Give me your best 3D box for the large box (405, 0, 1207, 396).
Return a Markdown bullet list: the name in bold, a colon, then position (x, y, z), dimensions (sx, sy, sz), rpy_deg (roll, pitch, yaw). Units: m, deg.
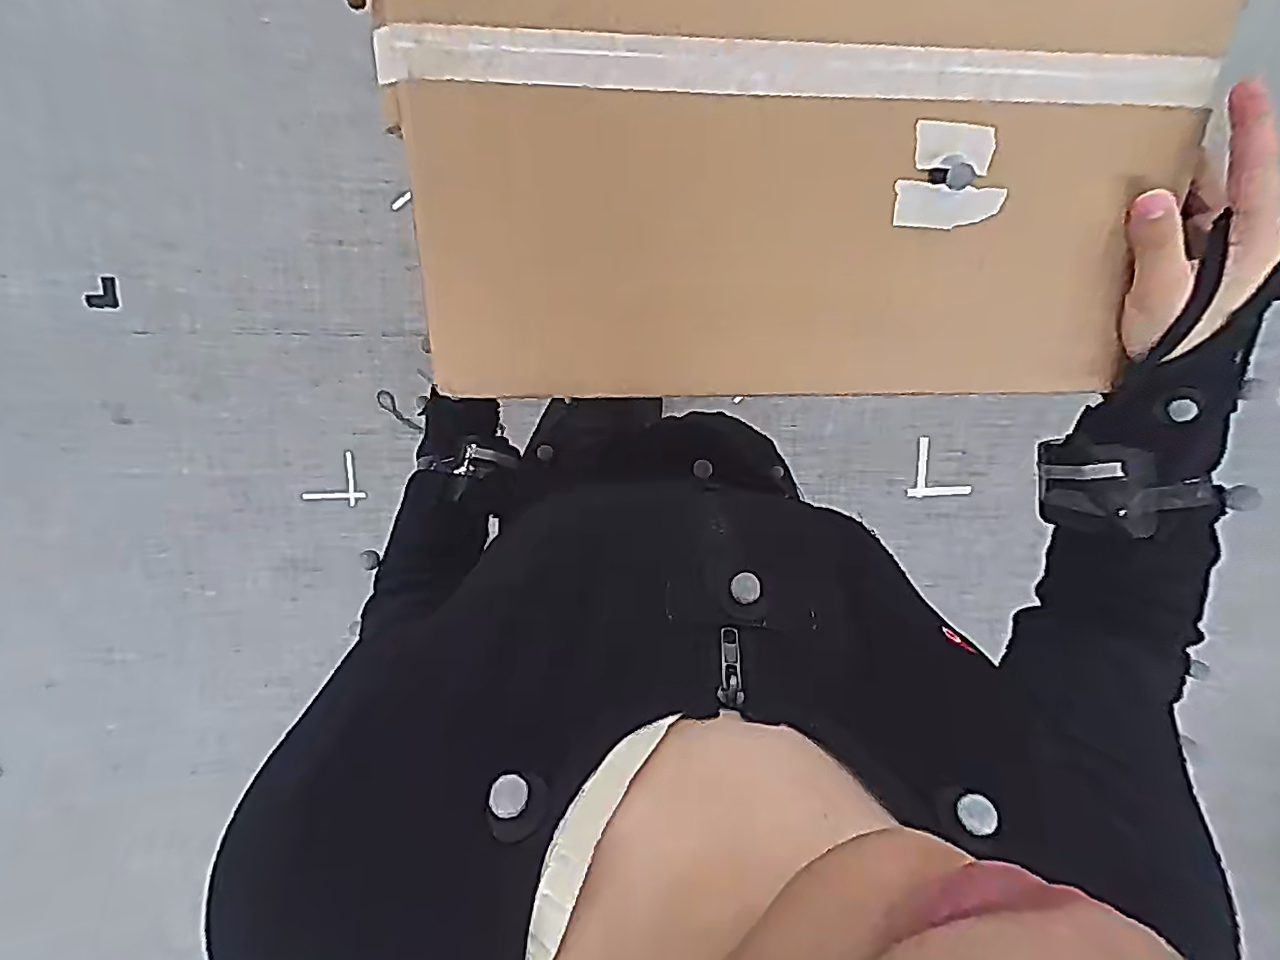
- **large box**: position (0.073, -0.250, 0.411), dimensions (0.408, 0.320, 0.320), rpy_deg (-2, 110, -6)
